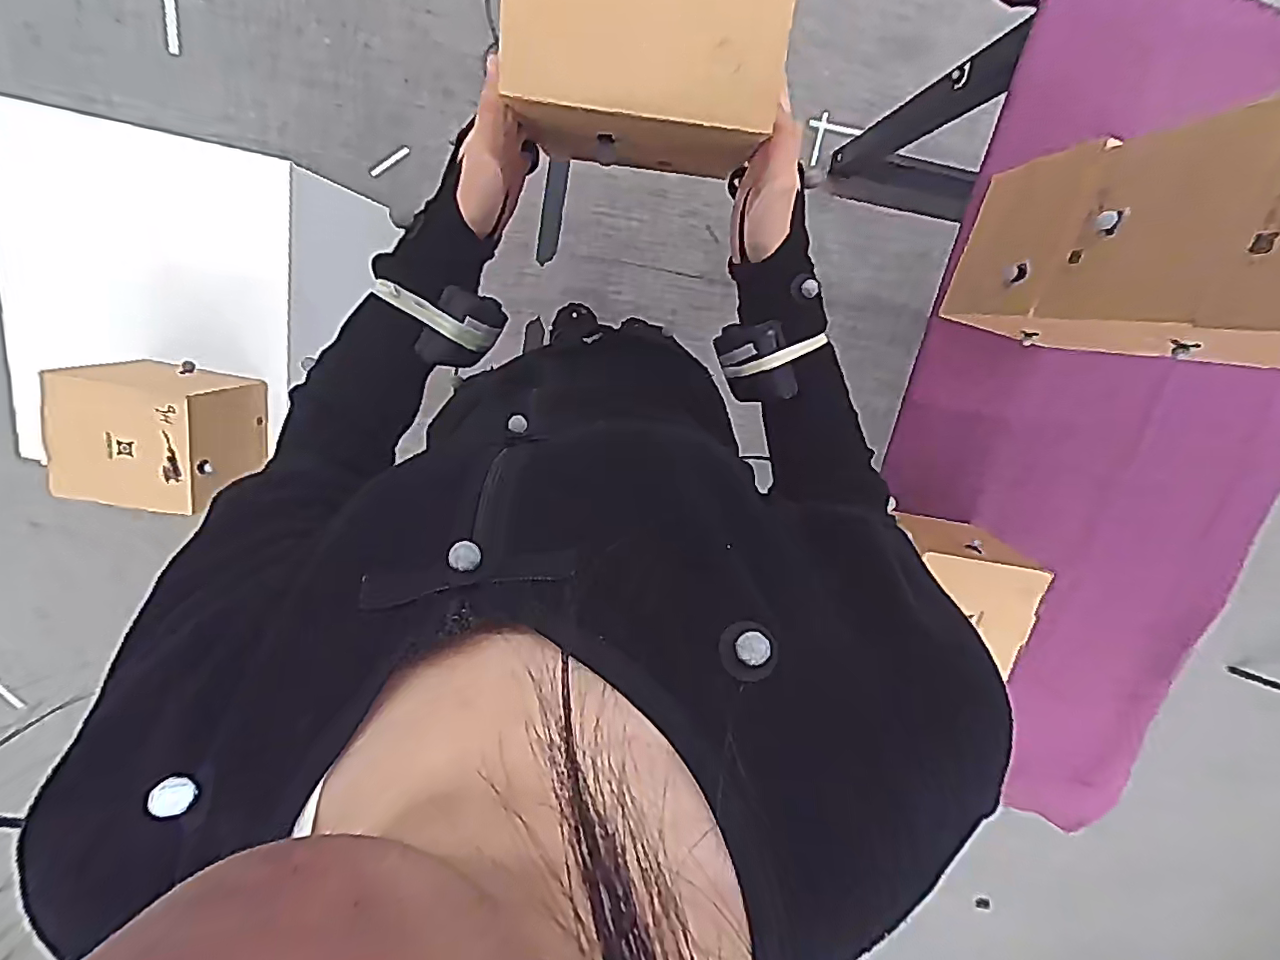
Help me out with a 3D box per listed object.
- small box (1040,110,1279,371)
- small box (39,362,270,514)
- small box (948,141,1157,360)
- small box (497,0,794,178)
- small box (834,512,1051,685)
[{"bbox_3d":[0.519,-0.199,0.476,0.179,0.176,0.168,13,106,-6],"label":"small box"},{"bbox_3d":[-0.666,-0.068,0.762,0.179,0.176,0.168,10,106,-5],"label":"small box"},{"bbox_3d":[0.502,-0.253,0.631,0.168,0.176,0.179,13,106,-8],"label":"small box"},{"bbox_3d":[0.009,-0.320,0.363,0.168,0.176,0.179,6,109,-2],"label":"small box"},{"bbox_3d":[0.403,0.155,0.754,0.179,0.176,0.168,10,105,-5],"label":"small box"}]
